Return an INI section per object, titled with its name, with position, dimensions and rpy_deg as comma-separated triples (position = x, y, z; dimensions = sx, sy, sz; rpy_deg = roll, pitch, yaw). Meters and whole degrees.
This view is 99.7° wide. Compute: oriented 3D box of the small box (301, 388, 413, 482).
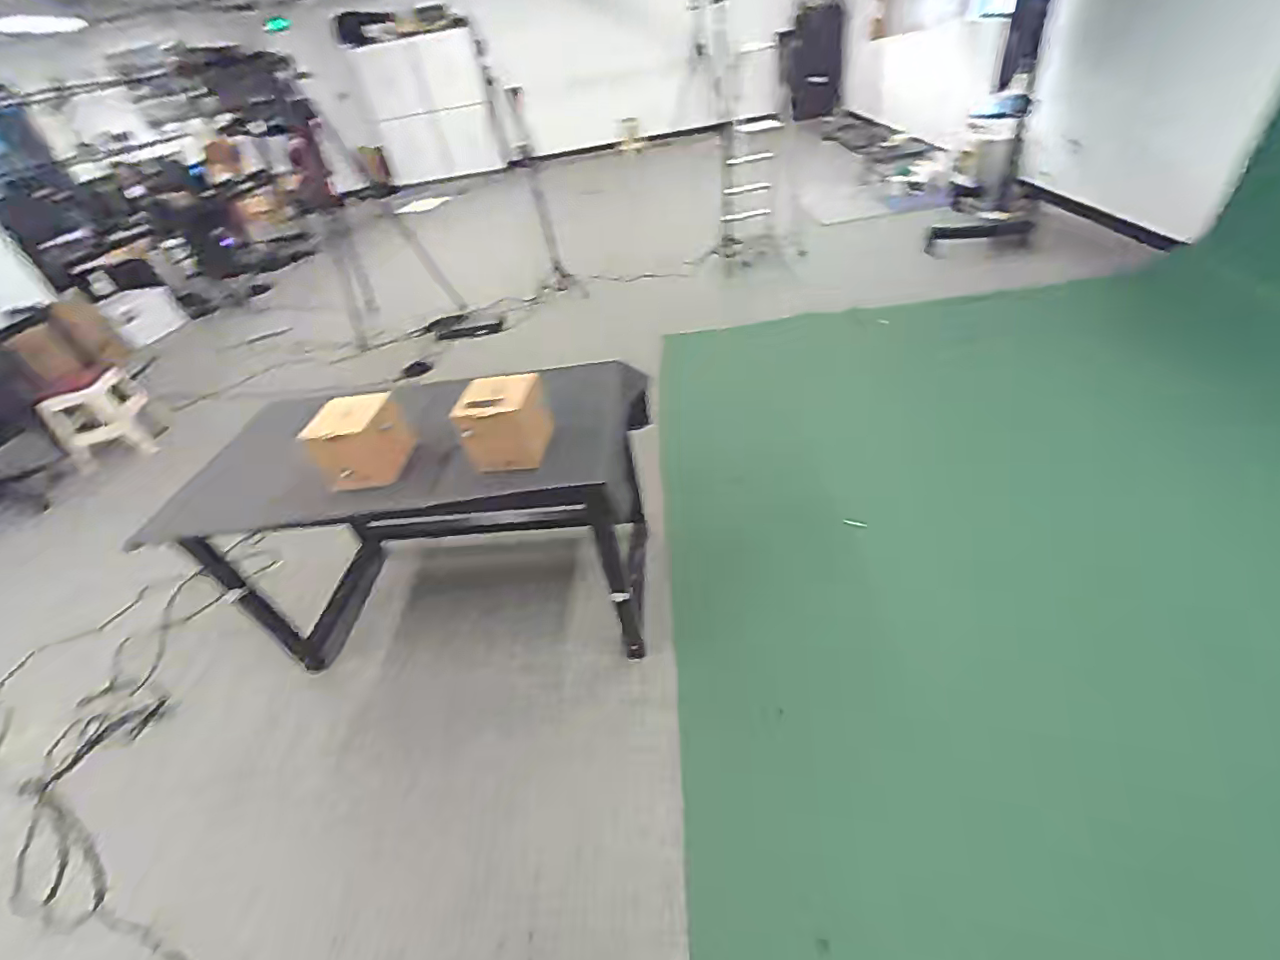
[small box]
position = -0.702, -0.113, 1.369
dimensions = 0.168, 0.176, 0.179
rpy_deg = -3, 40, 6
